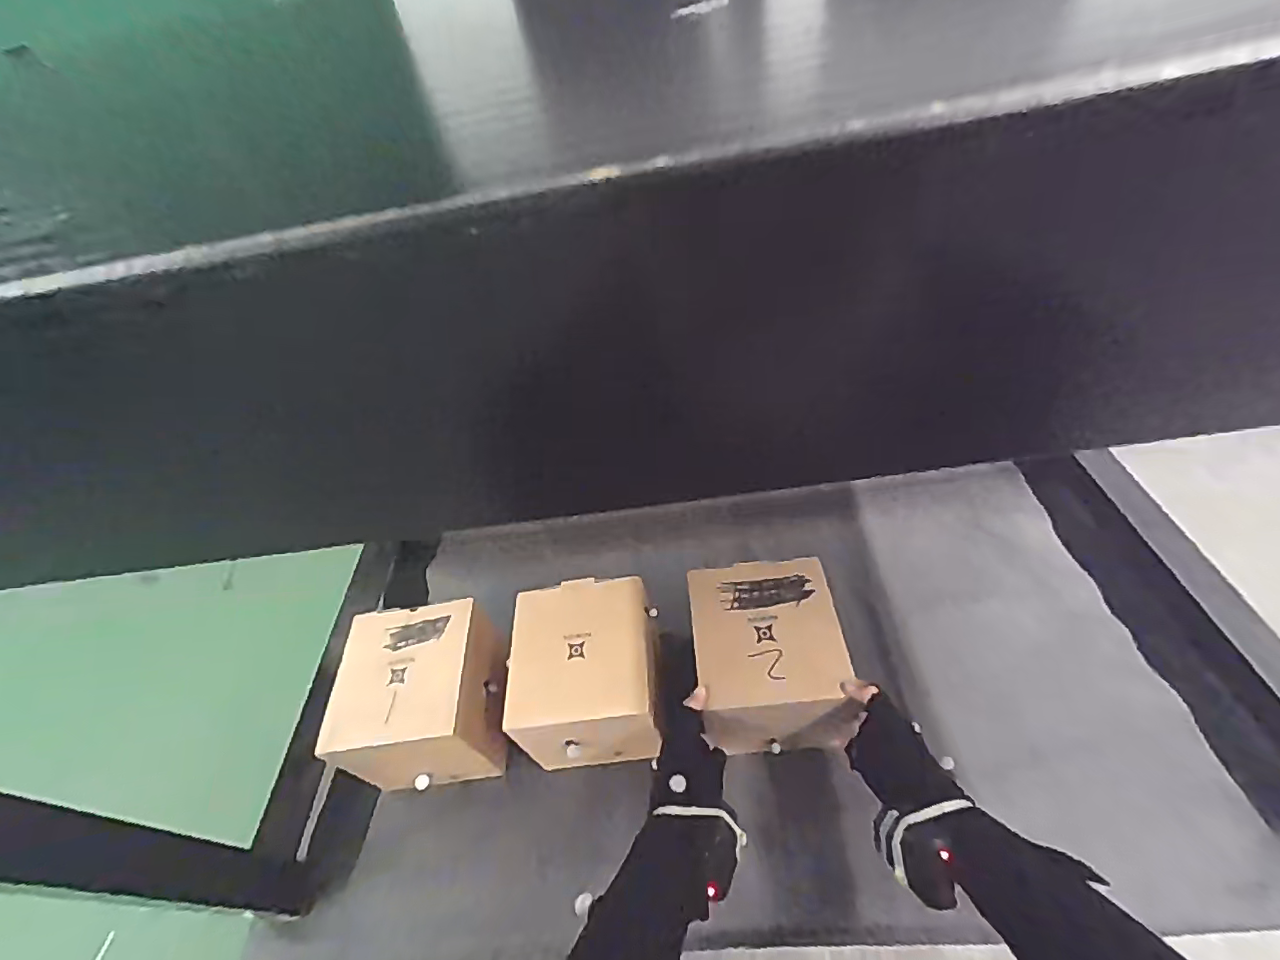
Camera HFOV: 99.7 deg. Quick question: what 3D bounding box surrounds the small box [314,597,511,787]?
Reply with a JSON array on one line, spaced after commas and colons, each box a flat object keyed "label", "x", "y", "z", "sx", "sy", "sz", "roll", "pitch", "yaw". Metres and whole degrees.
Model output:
[{"label": "small box", "x": -0.280, "y": 0.282, "z": 0.716, "sx": 0.168, "sy": 0.176, "sz": 0.179, "roll": -9, "pitch": 47, "yaw": 4}]
